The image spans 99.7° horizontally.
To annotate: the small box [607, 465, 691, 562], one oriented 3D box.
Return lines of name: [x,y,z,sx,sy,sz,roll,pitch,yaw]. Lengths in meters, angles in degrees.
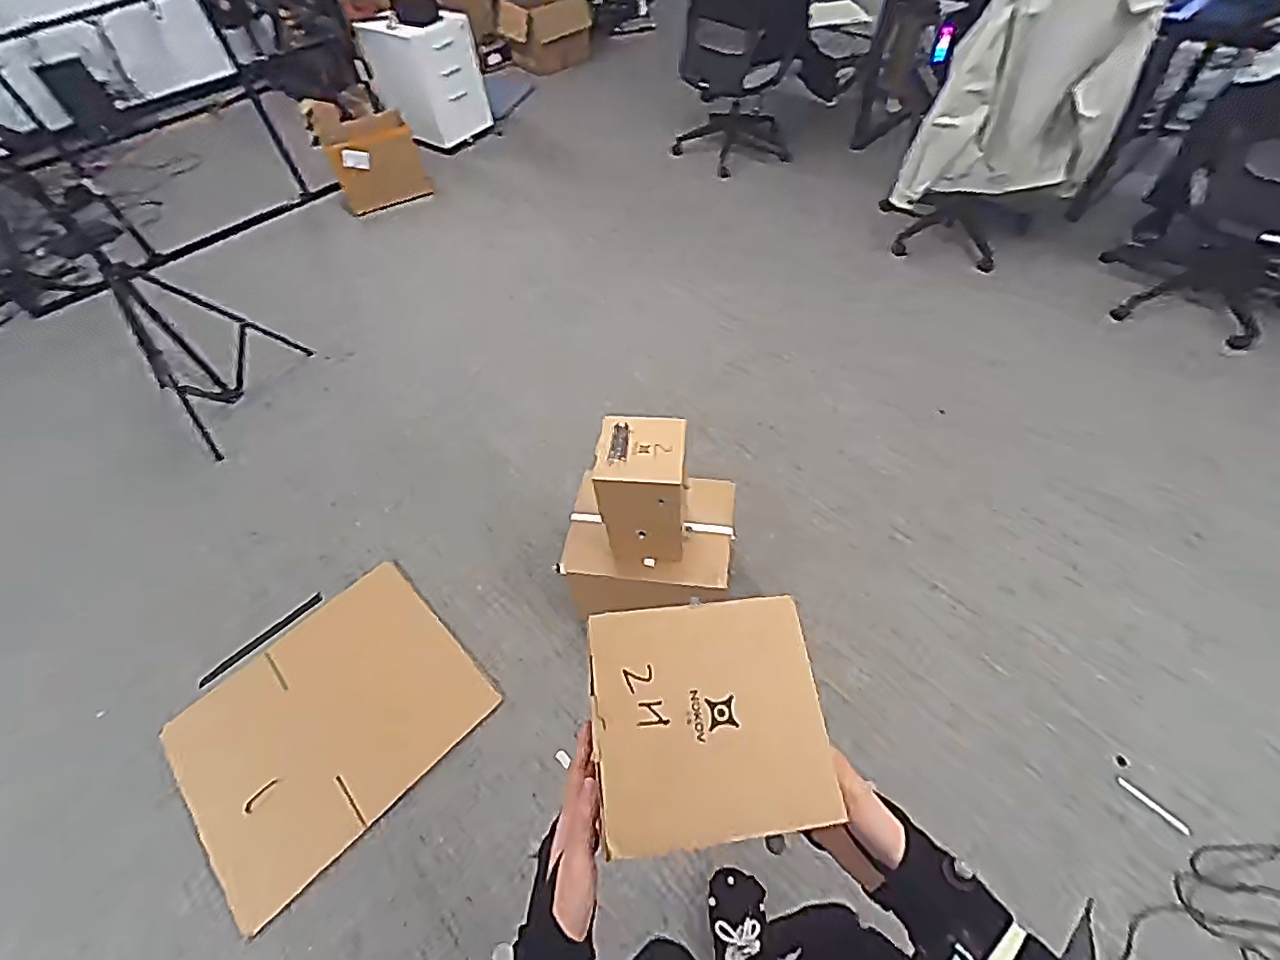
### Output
small box: [0.027,0.081,1.276,0.179,0.176,0.168,3,56,6]

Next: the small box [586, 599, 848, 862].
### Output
small box: [0.046,0.212,0.476,0.179,0.176,0.168,-4,63,-8]
